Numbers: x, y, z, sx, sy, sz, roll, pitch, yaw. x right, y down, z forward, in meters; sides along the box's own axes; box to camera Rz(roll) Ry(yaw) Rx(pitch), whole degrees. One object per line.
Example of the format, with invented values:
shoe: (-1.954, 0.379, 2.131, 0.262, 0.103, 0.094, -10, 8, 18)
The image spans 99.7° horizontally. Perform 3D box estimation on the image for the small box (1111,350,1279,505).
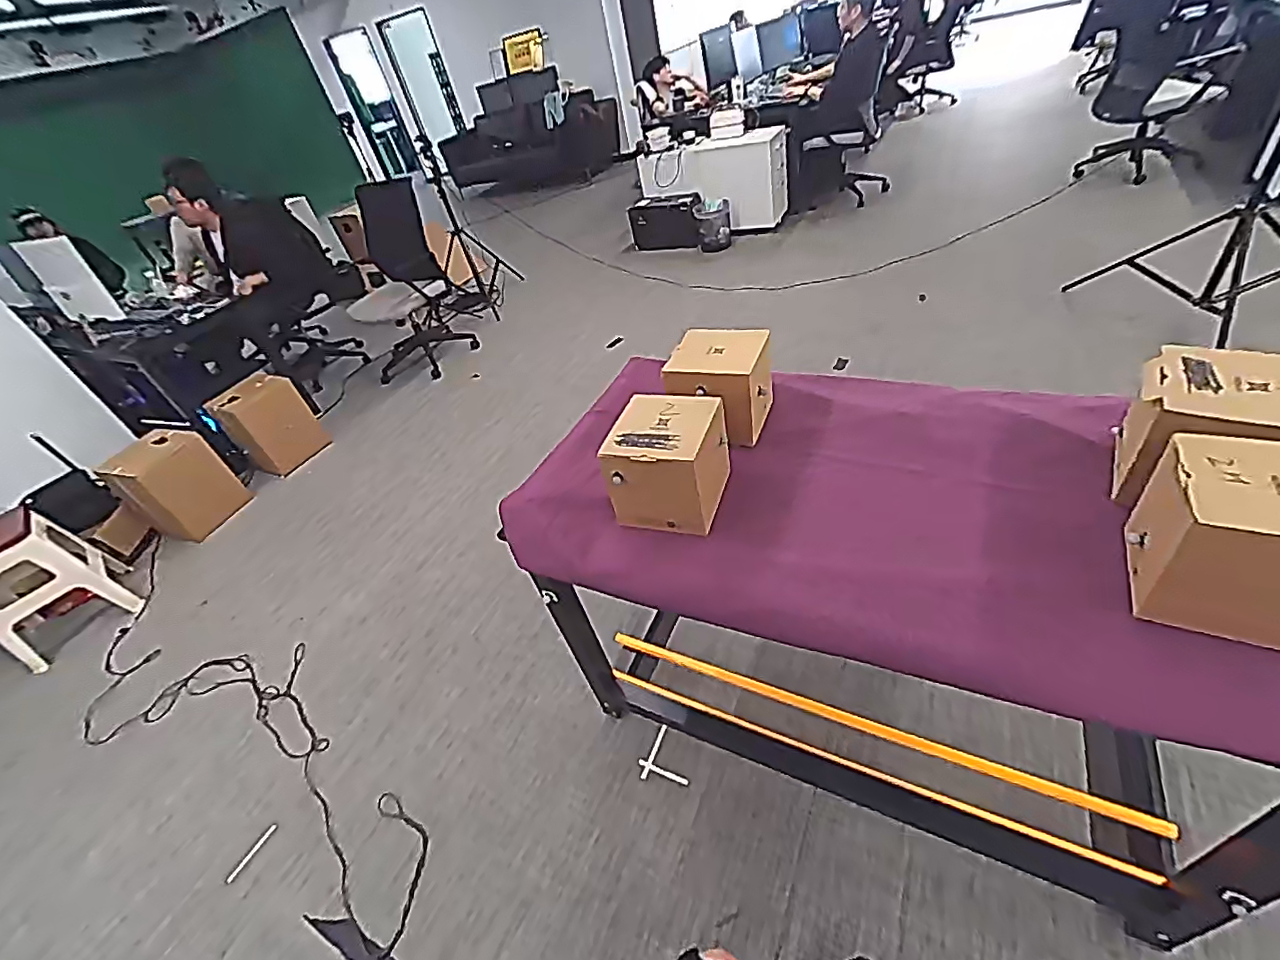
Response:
small box: (0.790, -0.057, 0.746, 0.179, 0.176, 0.168, 16, 51, 31)

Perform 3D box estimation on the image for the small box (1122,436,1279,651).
small box: (0.701, 0.074, 0.623, 0.179, 0.176, 0.168, 12, 45, 29)

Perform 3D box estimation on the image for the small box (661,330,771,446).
small box: (0.163, -0.186, 1.094, 0.179, 0.176, 0.168, 8, 45, 25)
